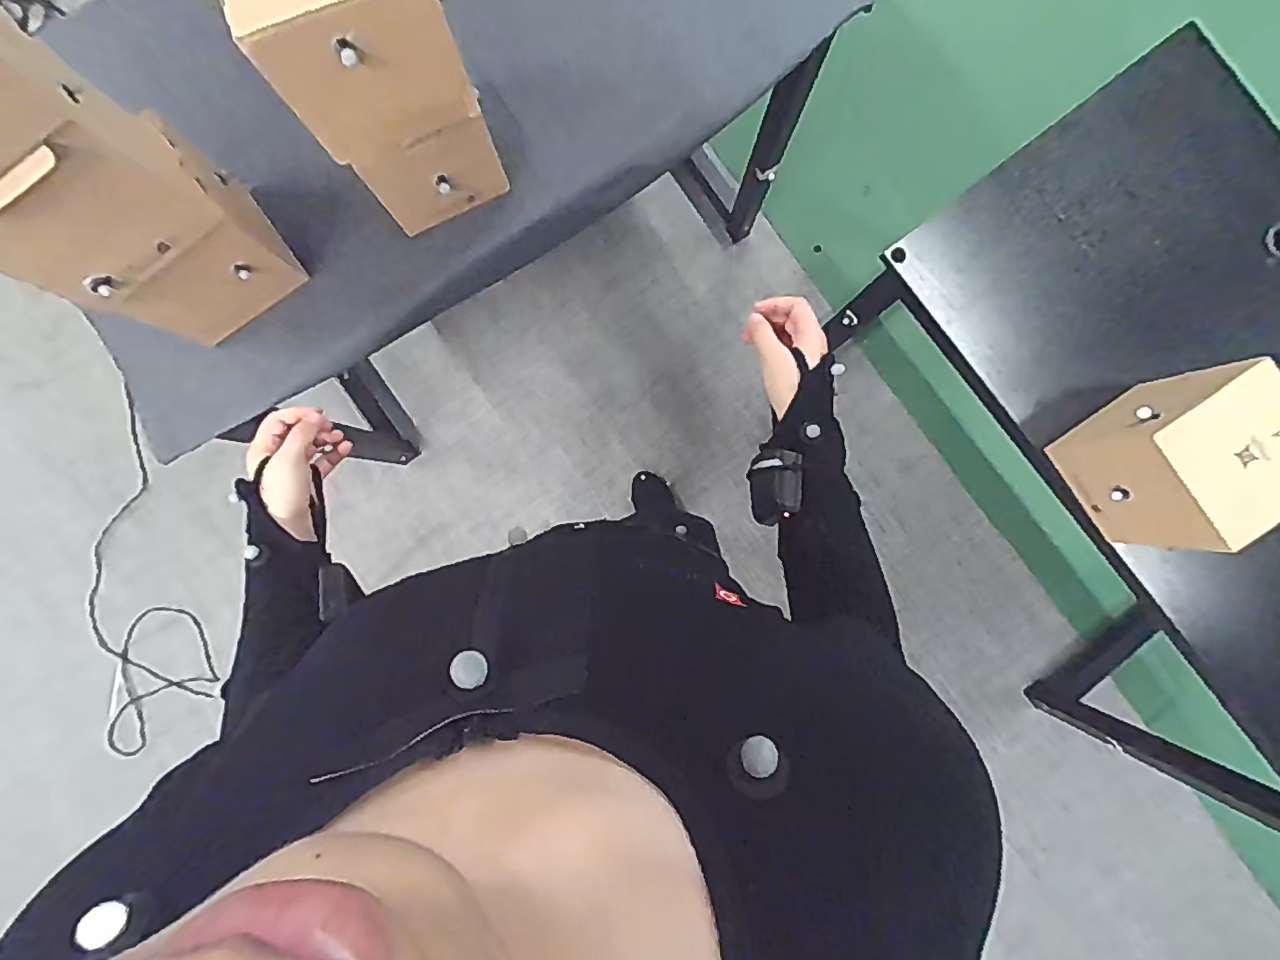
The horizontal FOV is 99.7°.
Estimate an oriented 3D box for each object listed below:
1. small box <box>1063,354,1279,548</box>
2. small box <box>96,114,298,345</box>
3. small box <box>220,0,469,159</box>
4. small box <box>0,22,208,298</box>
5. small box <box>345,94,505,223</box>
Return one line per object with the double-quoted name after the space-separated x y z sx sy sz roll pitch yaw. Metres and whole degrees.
0.705 -0.031 0.702 0.179 0.176 0.168 -34 90 -1 "small box"
-0.588 -0.306 0.699 0.179 0.176 0.168 -37 87 -1 "small box"
-0.290 -0.470 0.542 0.179 0.176 0.168 -21 87 0 "small box"
-0.595 -0.307 0.535 0.168 0.176 0.179 -41 86 -2 "small box"
-0.298 -0.468 0.706 0.168 0.176 0.179 -26 88 -1 "small box"
